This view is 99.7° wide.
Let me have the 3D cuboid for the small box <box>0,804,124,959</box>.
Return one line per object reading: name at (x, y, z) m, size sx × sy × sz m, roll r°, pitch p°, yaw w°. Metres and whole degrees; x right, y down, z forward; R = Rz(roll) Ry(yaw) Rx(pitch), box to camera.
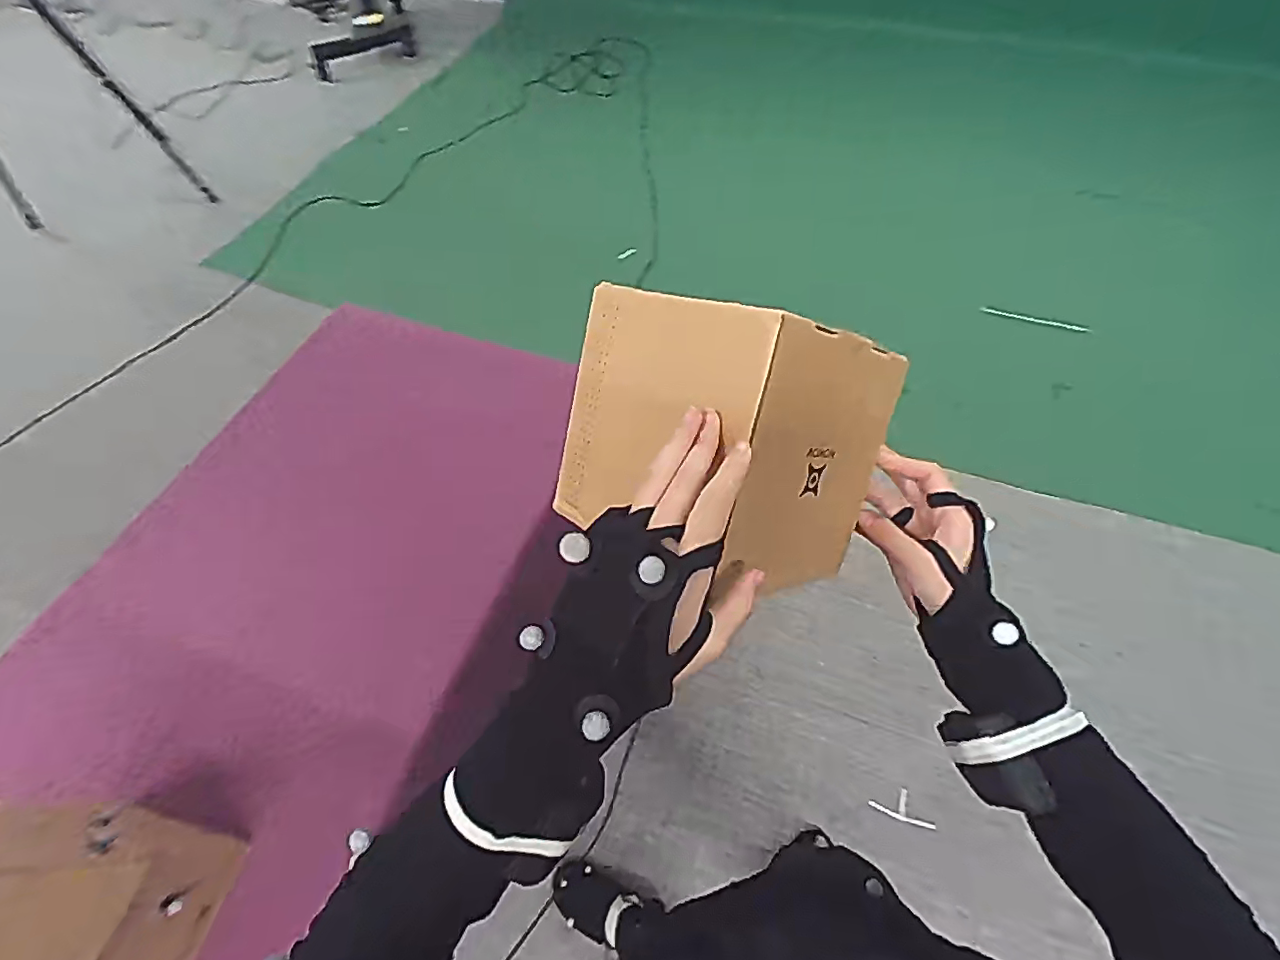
small box at (-0.539, 0.343, 0.383) m, size 0.168 × 0.176 × 0.179 m, roll 11°, pitch 60°, yaw 9°
